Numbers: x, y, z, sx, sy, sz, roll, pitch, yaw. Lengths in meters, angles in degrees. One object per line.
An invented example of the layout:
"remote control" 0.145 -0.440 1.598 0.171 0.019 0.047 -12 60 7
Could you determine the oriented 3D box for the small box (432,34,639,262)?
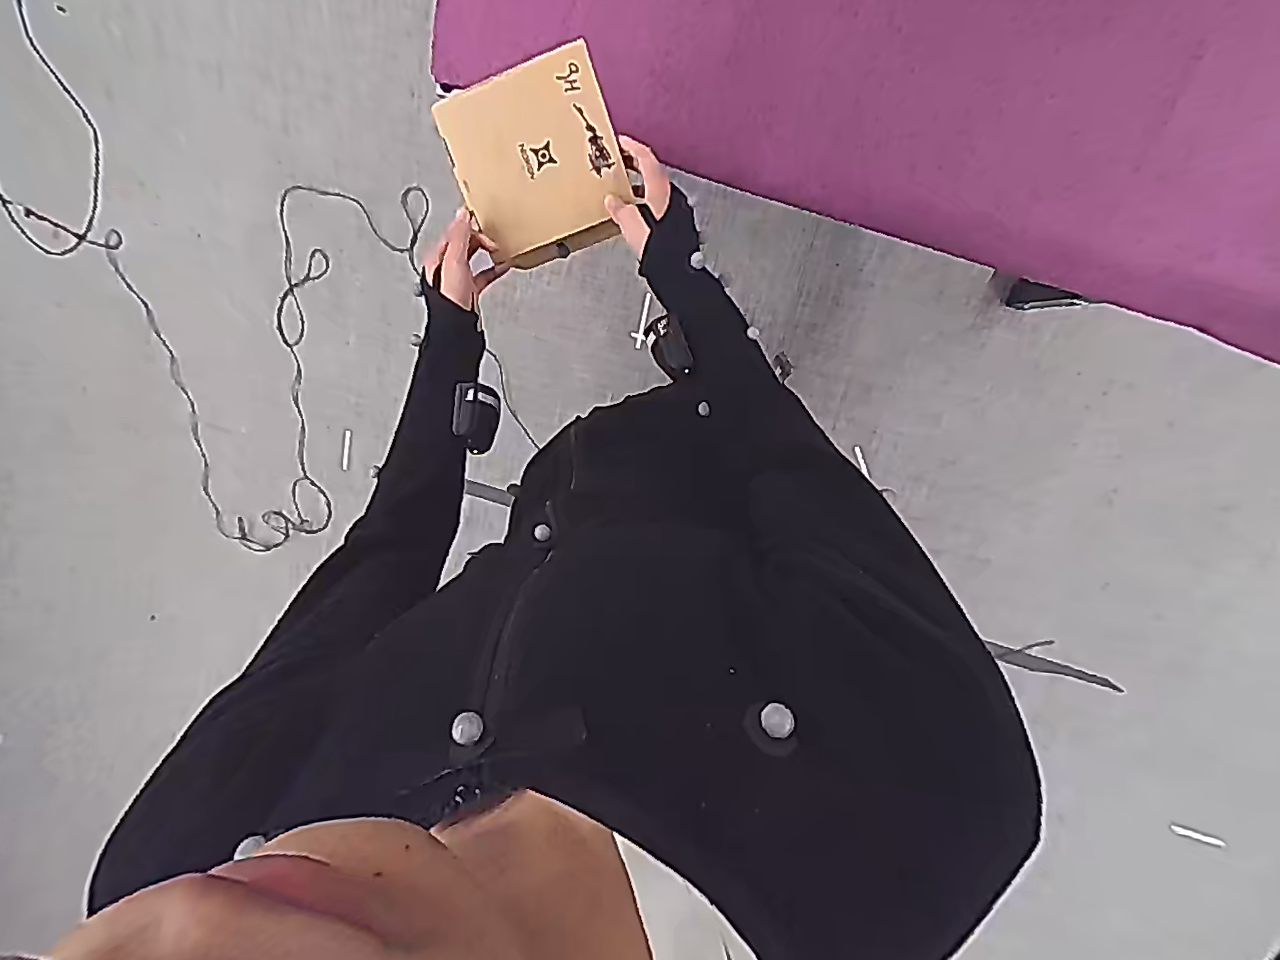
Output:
"small box" -0.108 -0.373 0.649 0.179 0.176 0.168 -18 107 8
